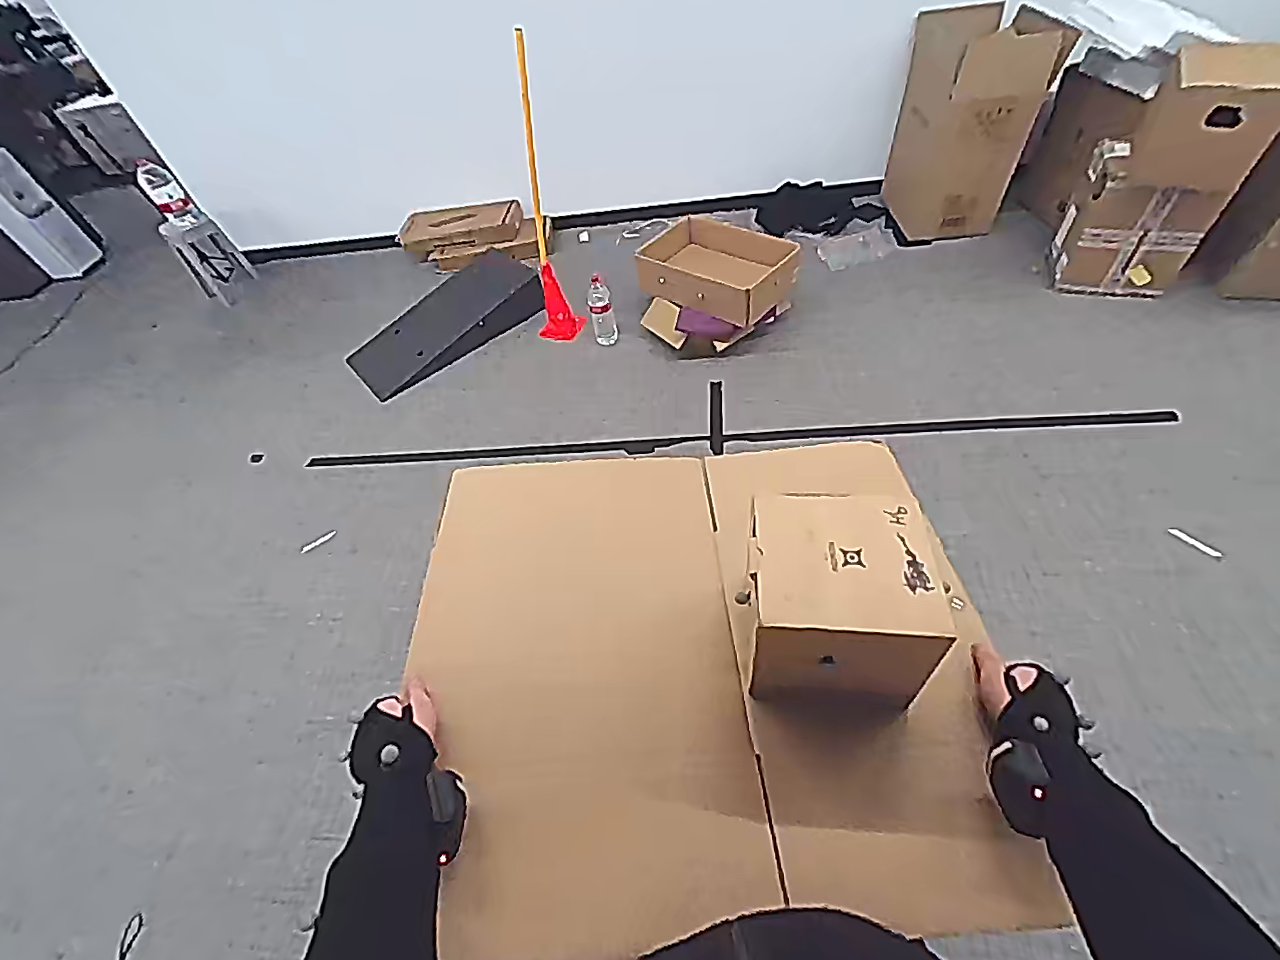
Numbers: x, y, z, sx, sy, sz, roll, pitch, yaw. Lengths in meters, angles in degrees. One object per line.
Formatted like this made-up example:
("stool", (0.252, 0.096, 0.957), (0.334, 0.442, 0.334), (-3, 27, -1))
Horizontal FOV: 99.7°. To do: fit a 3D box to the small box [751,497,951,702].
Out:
("small box", (0.215, 0.136, 0.610), (0.179, 0.176, 0.168), (0, 48, 9))
